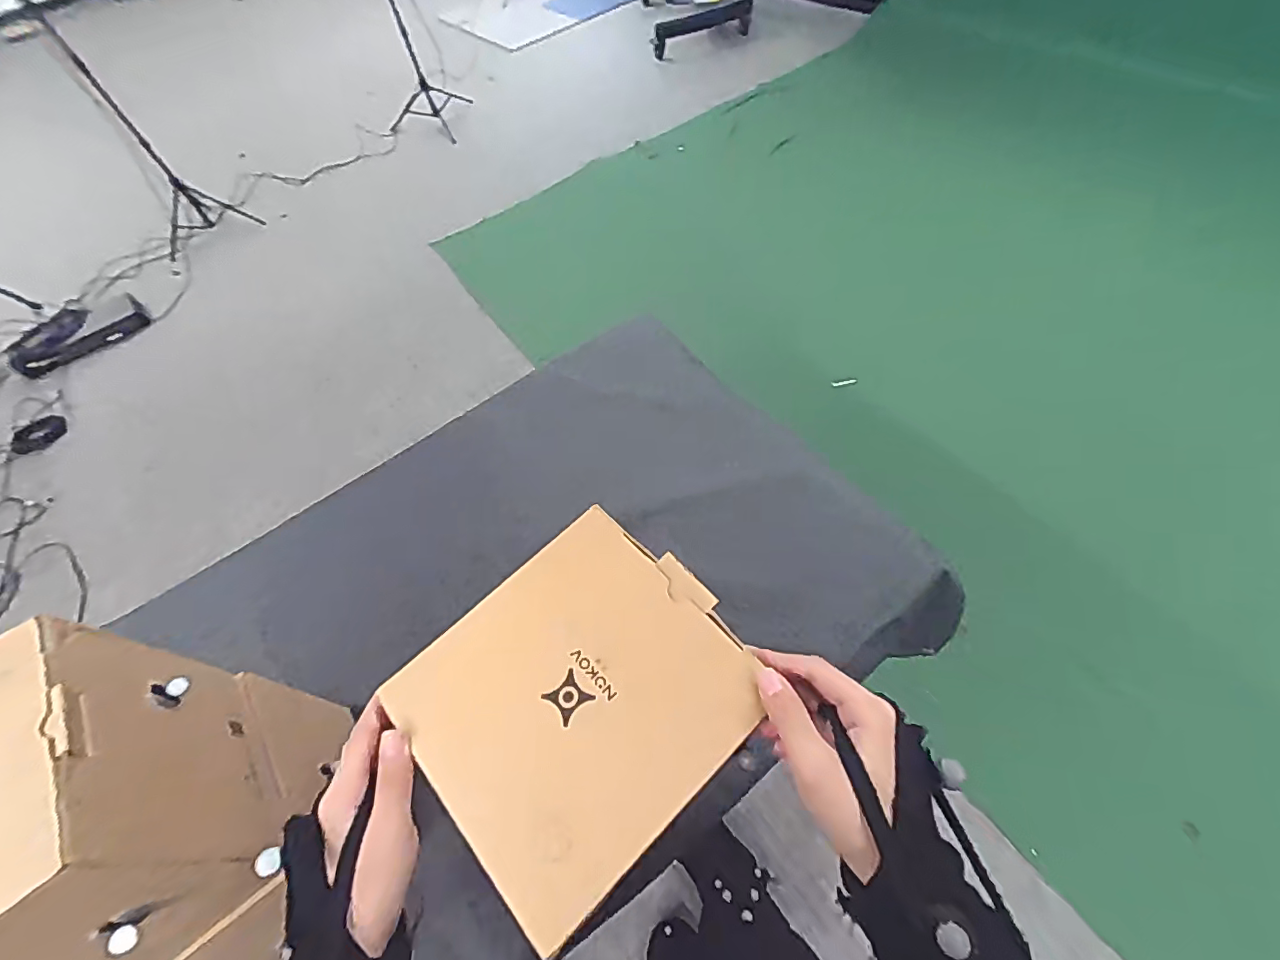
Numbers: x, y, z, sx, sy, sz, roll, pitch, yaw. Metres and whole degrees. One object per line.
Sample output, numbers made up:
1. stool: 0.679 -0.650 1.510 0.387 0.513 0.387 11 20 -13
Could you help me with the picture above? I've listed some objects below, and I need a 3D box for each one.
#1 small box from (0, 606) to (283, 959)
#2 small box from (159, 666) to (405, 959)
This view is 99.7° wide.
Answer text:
1. small box: -0.366 0.218 0.341 0.179 0.176 0.168 -37 59 -15
2. small box: -0.344 0.303 0.477 0.168 0.176 0.179 -35 59 -15
